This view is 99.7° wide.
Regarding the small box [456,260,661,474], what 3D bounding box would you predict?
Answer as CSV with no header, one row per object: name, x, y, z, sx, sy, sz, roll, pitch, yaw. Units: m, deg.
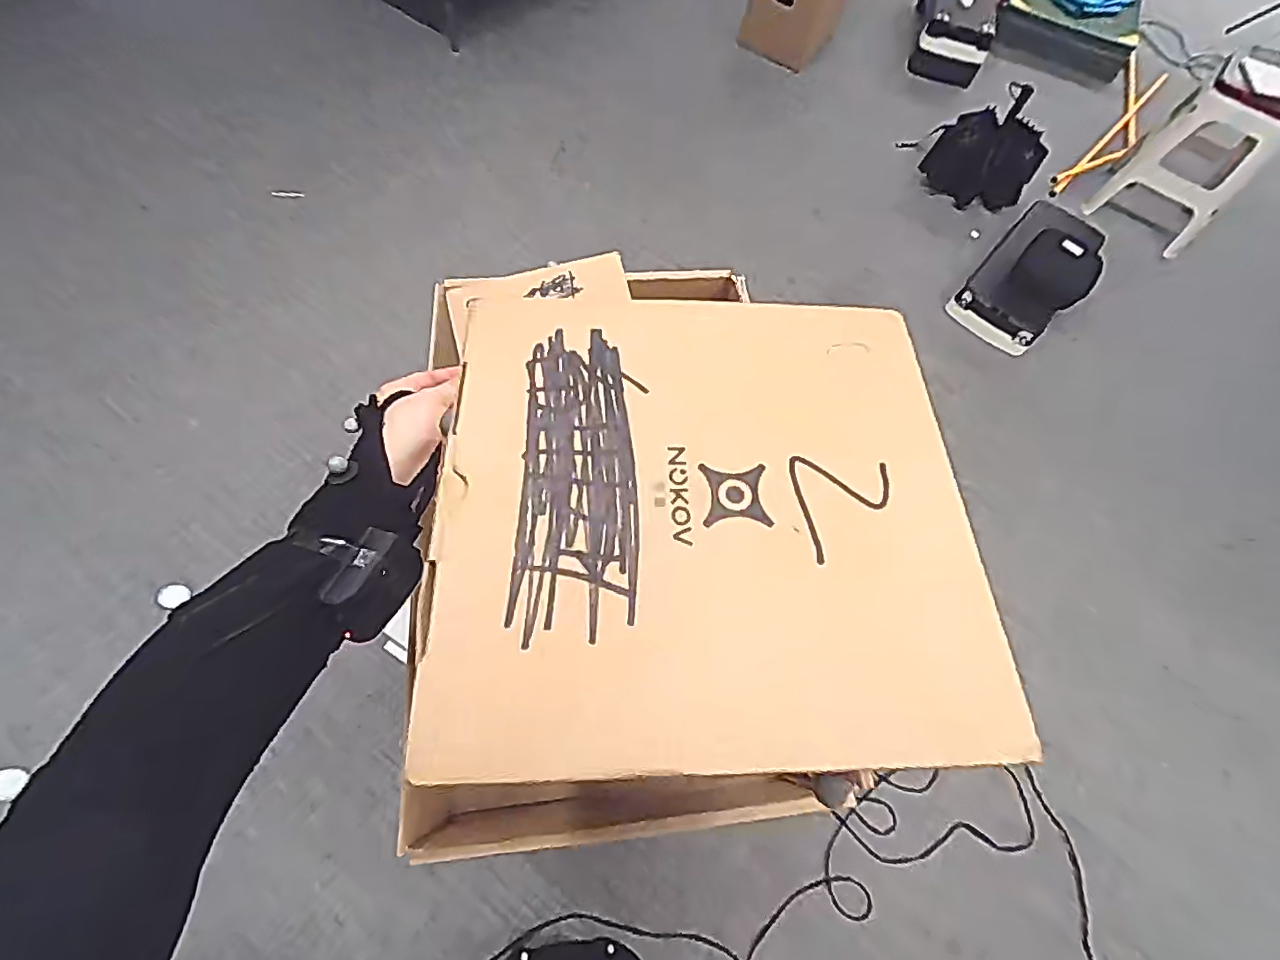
small box,-0.079,-0.106,0.590,0.168,0.176,0.179,-14,88,-3
